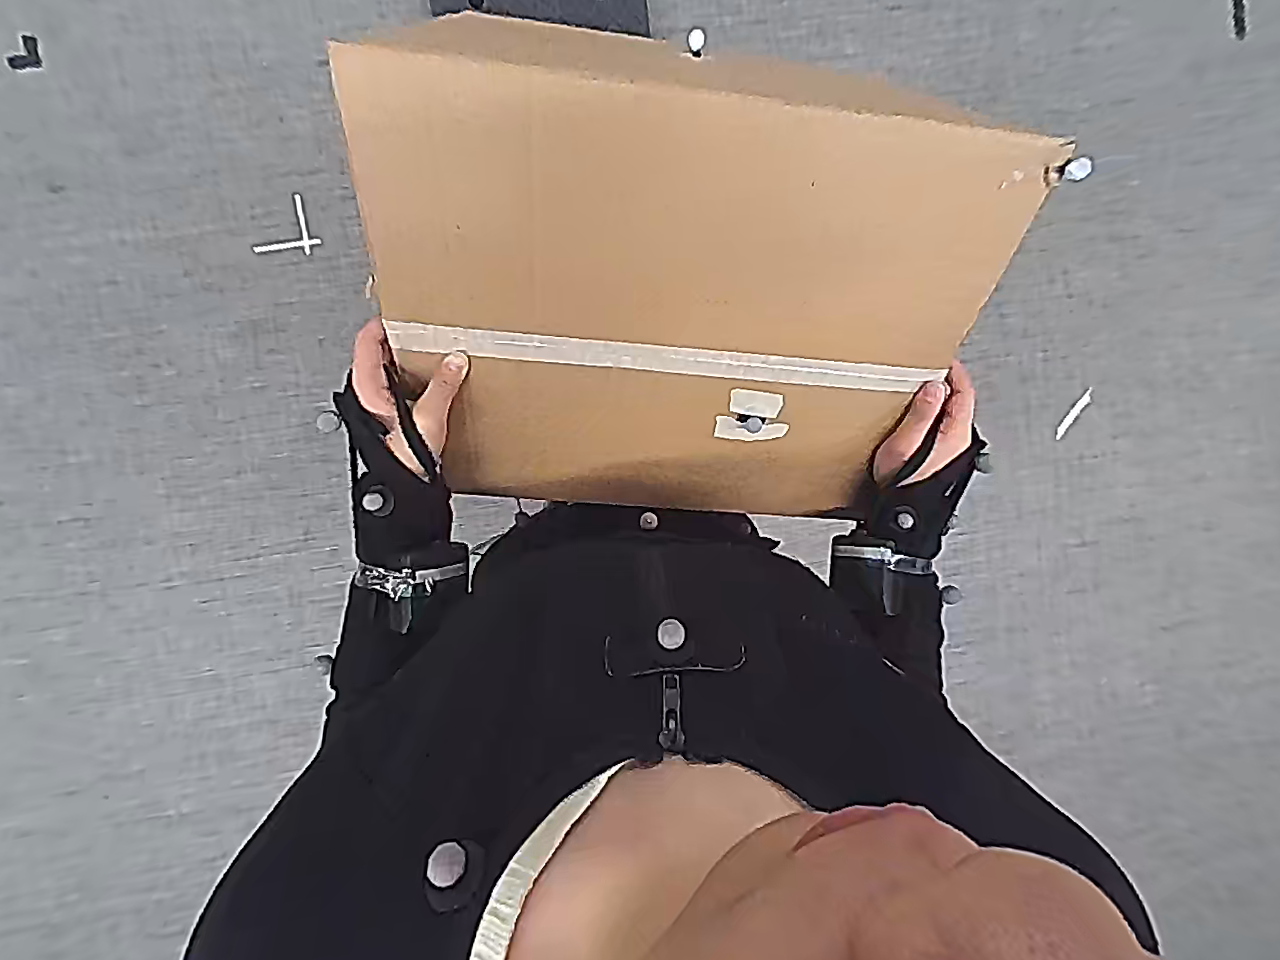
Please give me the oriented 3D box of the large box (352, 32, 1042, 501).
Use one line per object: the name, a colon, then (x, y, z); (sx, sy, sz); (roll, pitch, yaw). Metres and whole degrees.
large box: (0.022, -0.200, 0.511); (0.408, 0.320, 0.320); (3, 134, -6)
